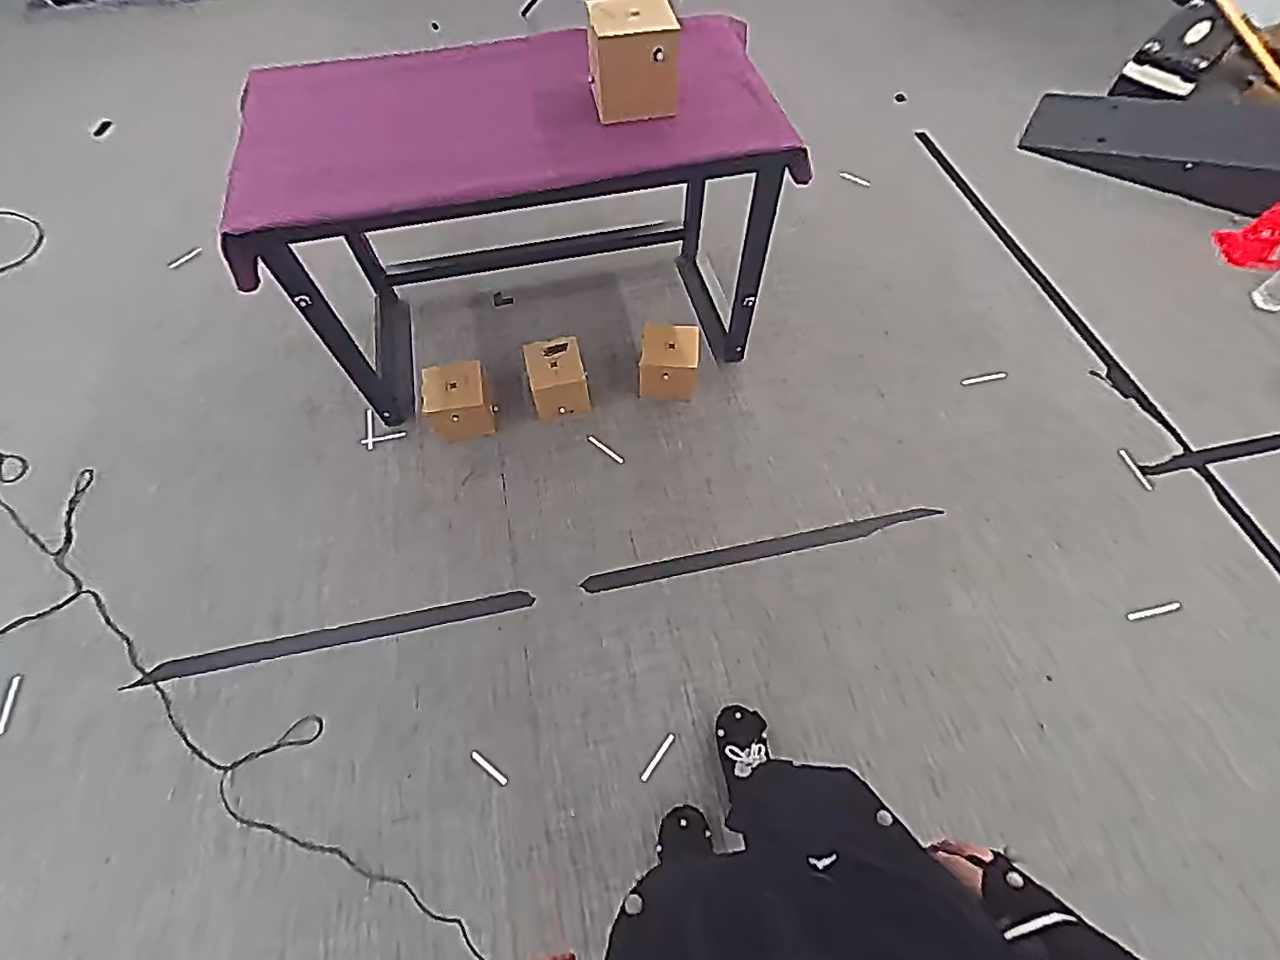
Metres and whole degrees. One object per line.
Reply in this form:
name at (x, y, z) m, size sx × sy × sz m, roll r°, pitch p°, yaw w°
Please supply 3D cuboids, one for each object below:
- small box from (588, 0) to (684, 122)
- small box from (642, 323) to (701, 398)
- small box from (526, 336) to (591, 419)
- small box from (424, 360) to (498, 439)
small box at (-0.011, -0.922, 1.183) m, size 0.179 × 0.176 × 0.168 m, roll -10°, pitch 62°, yaw -4°
small box at (0.100, -0.376, 1.721) m, size 0.179 × 0.176 × 0.168 m, roll 3°, pitch 63°, yaw 4°
small box at (-0.252, -0.319, 1.695) m, size 0.168 × 0.176 × 0.179 m, roll -12°, pitch 64°, yaw -5°
small box at (-0.546, -0.242, 1.660) m, size 0.179 × 0.176 × 0.168 m, roll -9°, pitch 63°, yaw -5°
